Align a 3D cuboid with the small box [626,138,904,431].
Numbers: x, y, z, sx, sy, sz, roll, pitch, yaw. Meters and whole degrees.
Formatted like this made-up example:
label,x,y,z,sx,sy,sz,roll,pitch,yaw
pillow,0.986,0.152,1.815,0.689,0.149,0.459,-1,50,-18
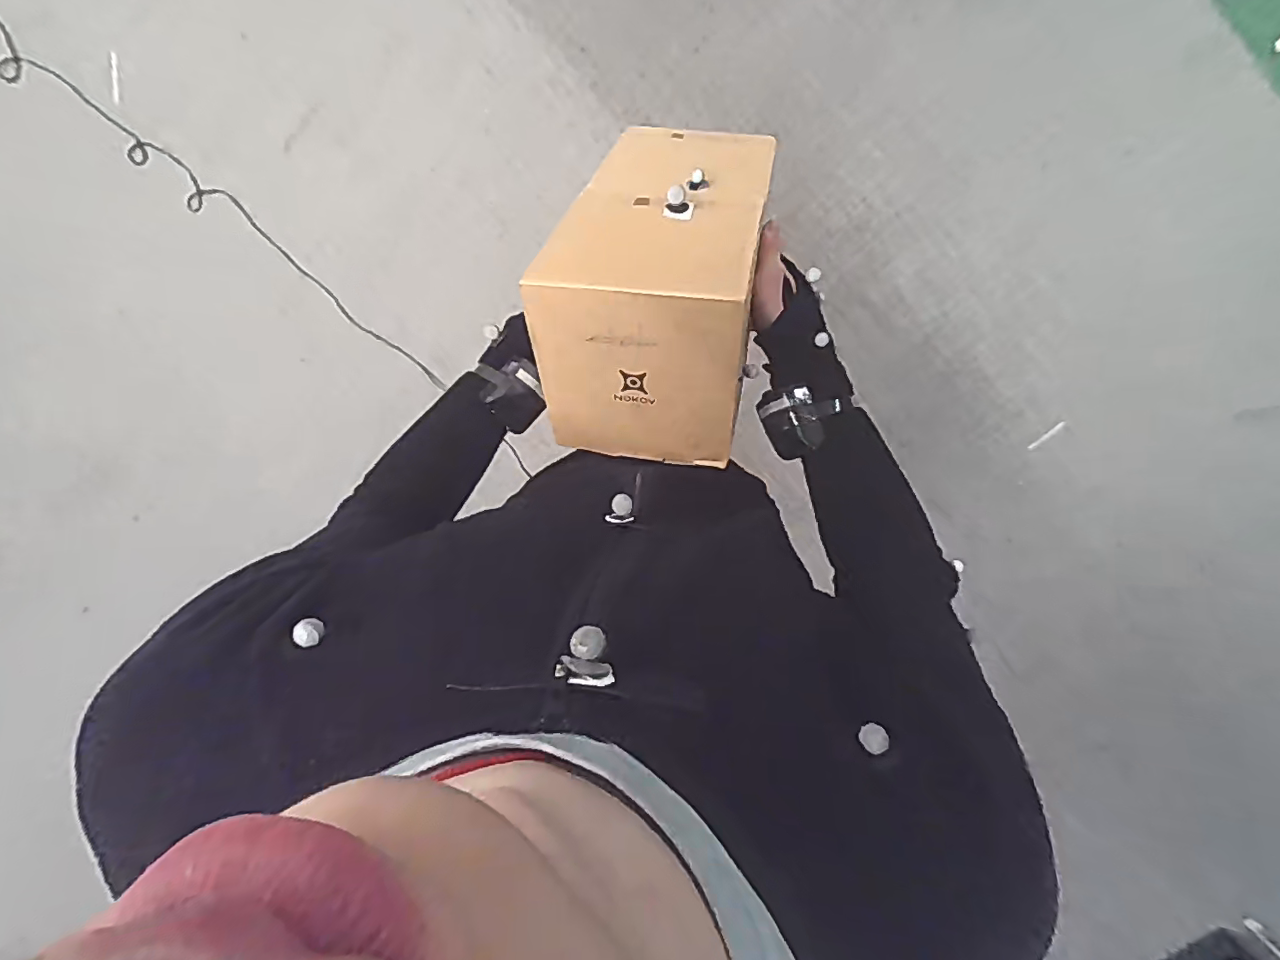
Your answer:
label,x,y,z,sx,sy,sz,roll,pitch,yaw
small box,0.102,-0.180,0.504,0.179,0.168,0.176,19,125,-18
